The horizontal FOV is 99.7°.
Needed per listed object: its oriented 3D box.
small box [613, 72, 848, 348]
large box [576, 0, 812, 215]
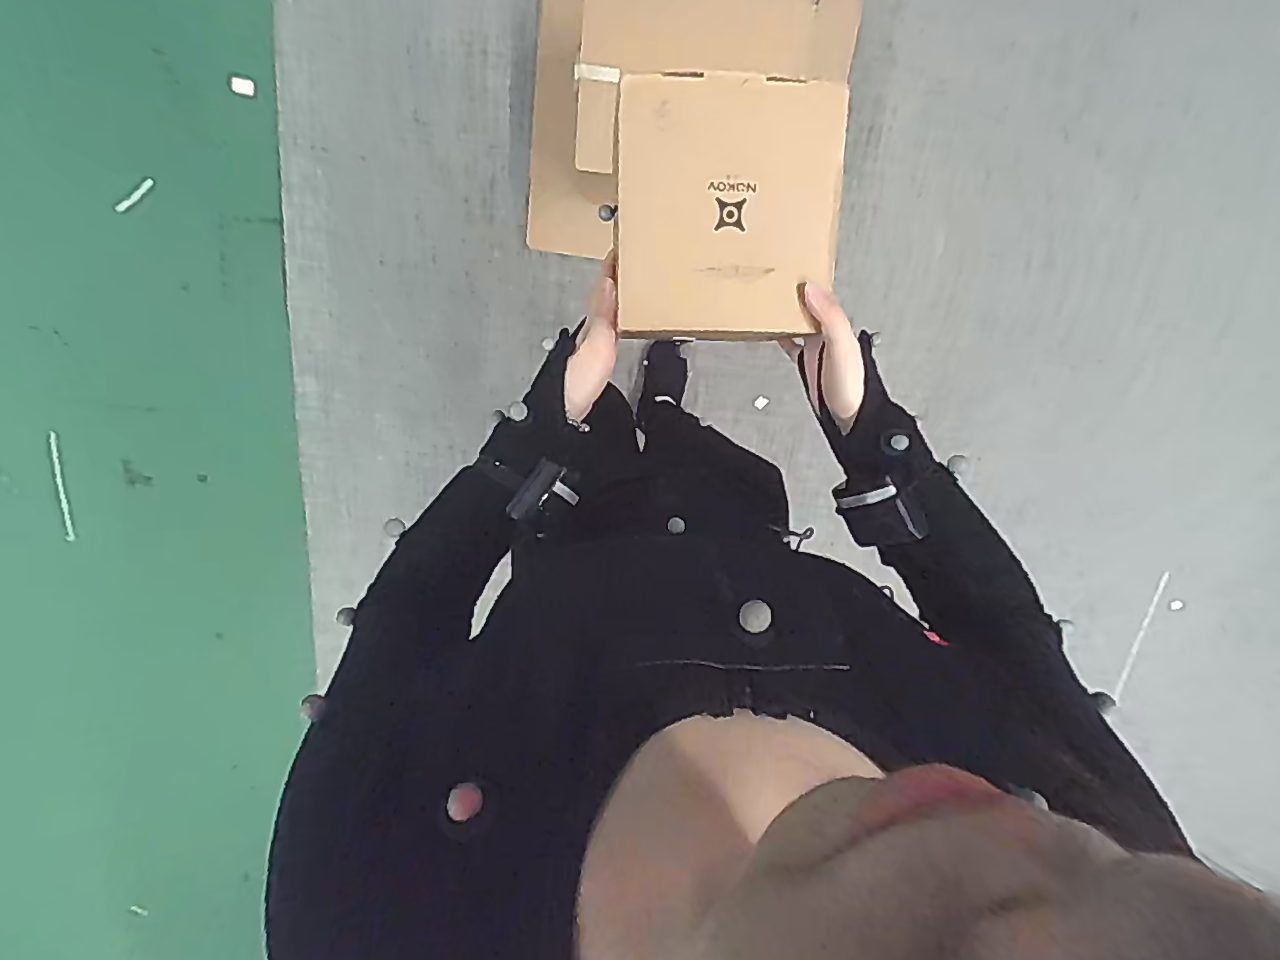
[{"bbox_3d":[0.062,-0.213,0.476,0.168,0.176,0.179,0,101,-4],"label":"small box"},{"bbox_3d":[0.083,-0.729,1.112,0.408,0.320,0.320,5,106,-4],"label":"large box"}]
